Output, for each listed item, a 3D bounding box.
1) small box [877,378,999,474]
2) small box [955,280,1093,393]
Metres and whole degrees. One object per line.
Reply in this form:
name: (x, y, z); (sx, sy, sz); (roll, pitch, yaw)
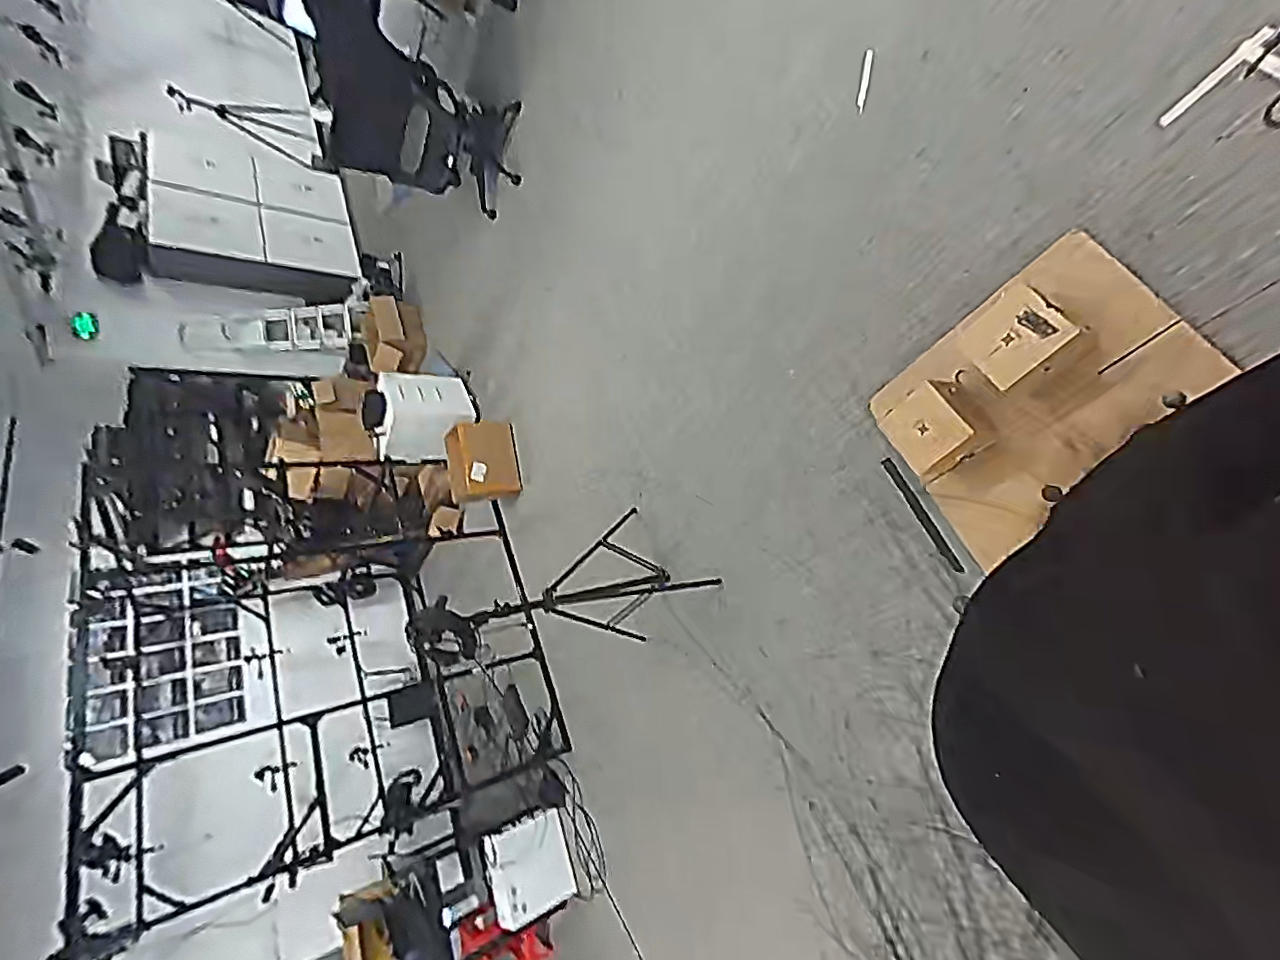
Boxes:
small box: (0.747, -0.133, 1.357); (0.168, 0.176, 0.179); (-54, 54, 40)
small box: (0.856, -0.310, 1.200); (0.179, 0.176, 0.168); (-52, 55, 40)
